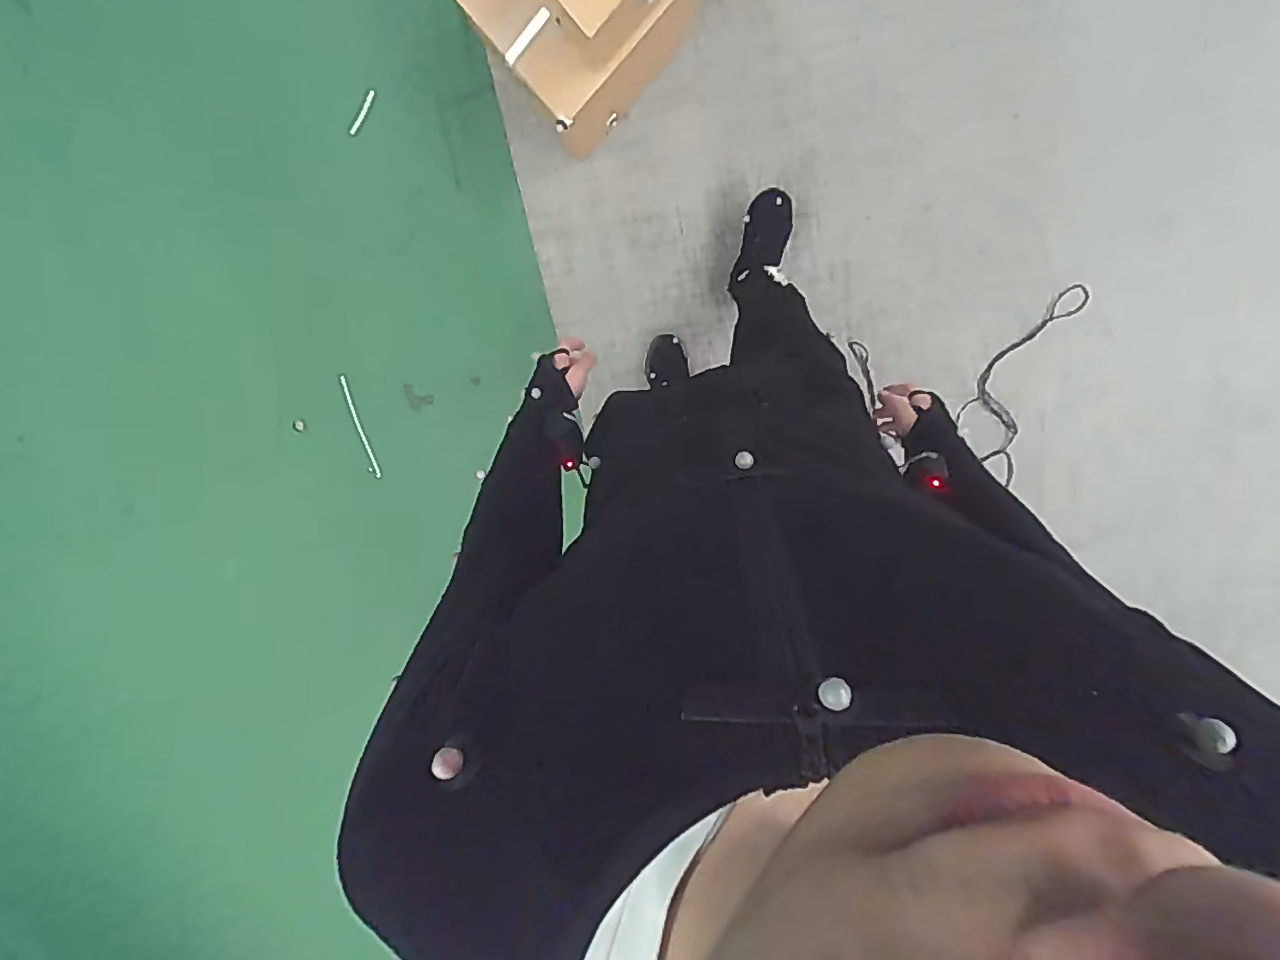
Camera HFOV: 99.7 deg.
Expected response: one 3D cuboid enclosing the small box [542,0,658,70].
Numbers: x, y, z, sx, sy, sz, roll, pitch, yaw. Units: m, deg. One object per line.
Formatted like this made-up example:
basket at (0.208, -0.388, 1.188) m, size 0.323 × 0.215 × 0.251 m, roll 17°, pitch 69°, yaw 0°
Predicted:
small box at (-0.073, -0.867, 0.929) m, size 0.179 × 0.176 × 0.168 m, roll -41°, pitch 104°, yaw 14°
